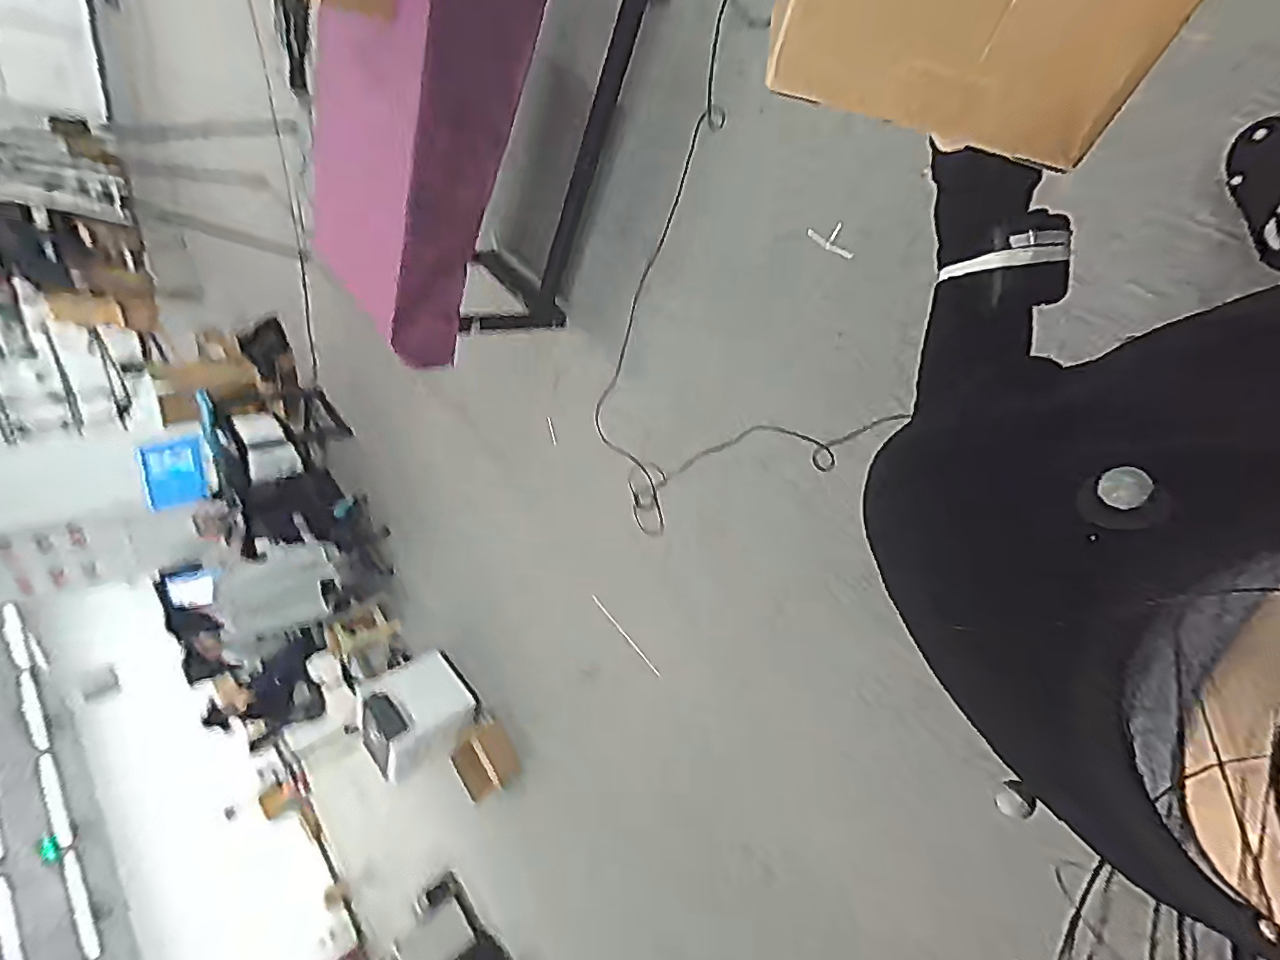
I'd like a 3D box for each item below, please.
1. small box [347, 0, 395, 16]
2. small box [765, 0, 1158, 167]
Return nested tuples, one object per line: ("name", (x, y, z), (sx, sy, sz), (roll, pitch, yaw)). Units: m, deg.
("small box", (-0.667, -1.214, 1.236), (0.168, 0.176, 0.179), (46, 130, 22))
("small box", (0.172, -0.299, 0.273), (0.168, 0.179, 0.176), (14, 141, -1))
